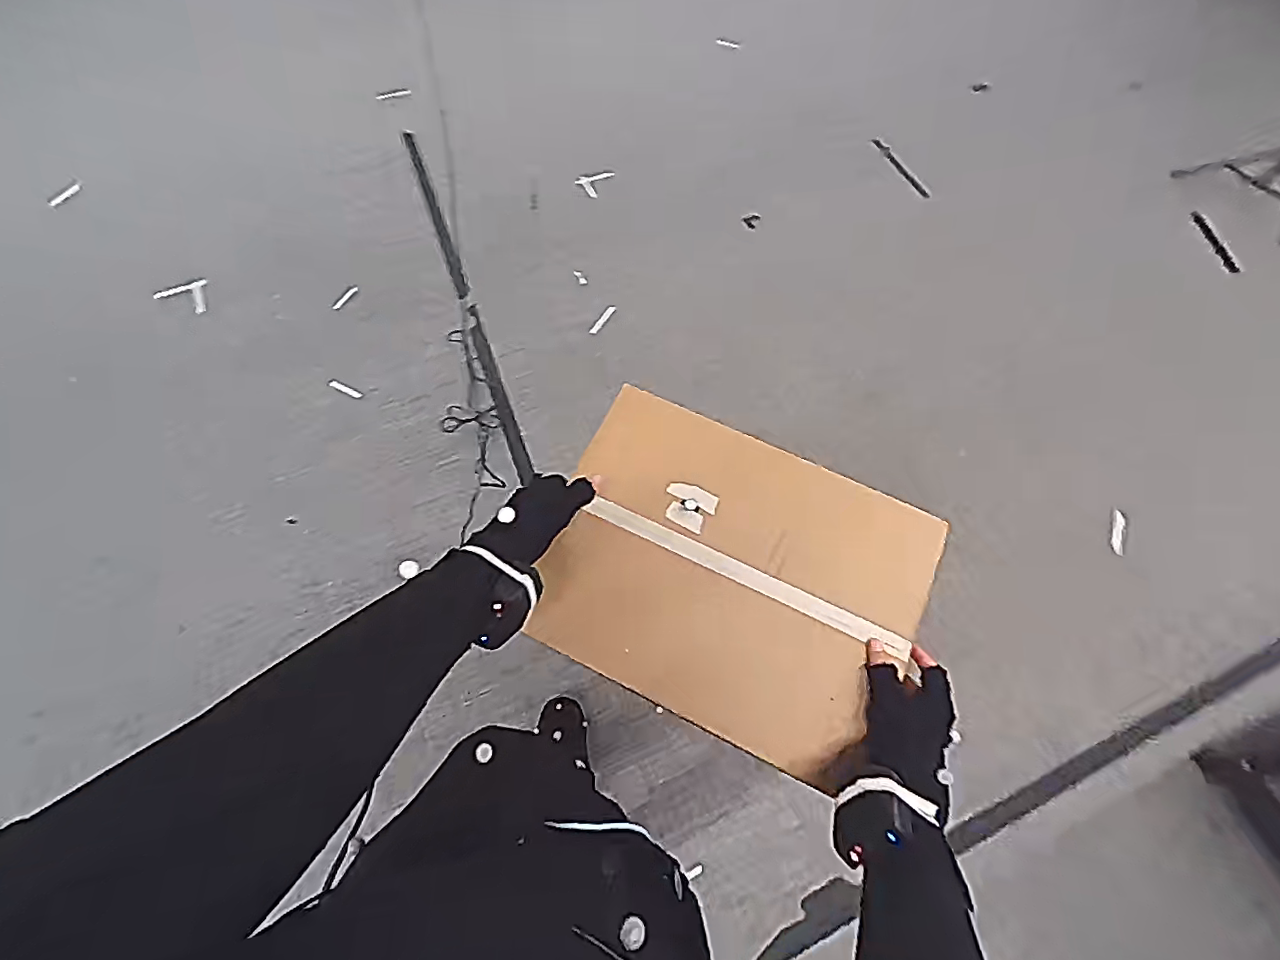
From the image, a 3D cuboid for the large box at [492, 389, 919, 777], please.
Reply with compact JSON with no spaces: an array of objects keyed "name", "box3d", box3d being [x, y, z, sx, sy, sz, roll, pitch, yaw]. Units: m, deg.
[{"name":"large box","box3d":[0.084,0.137,0.743,0.408,0.320,0.320,23,72,10]}]
